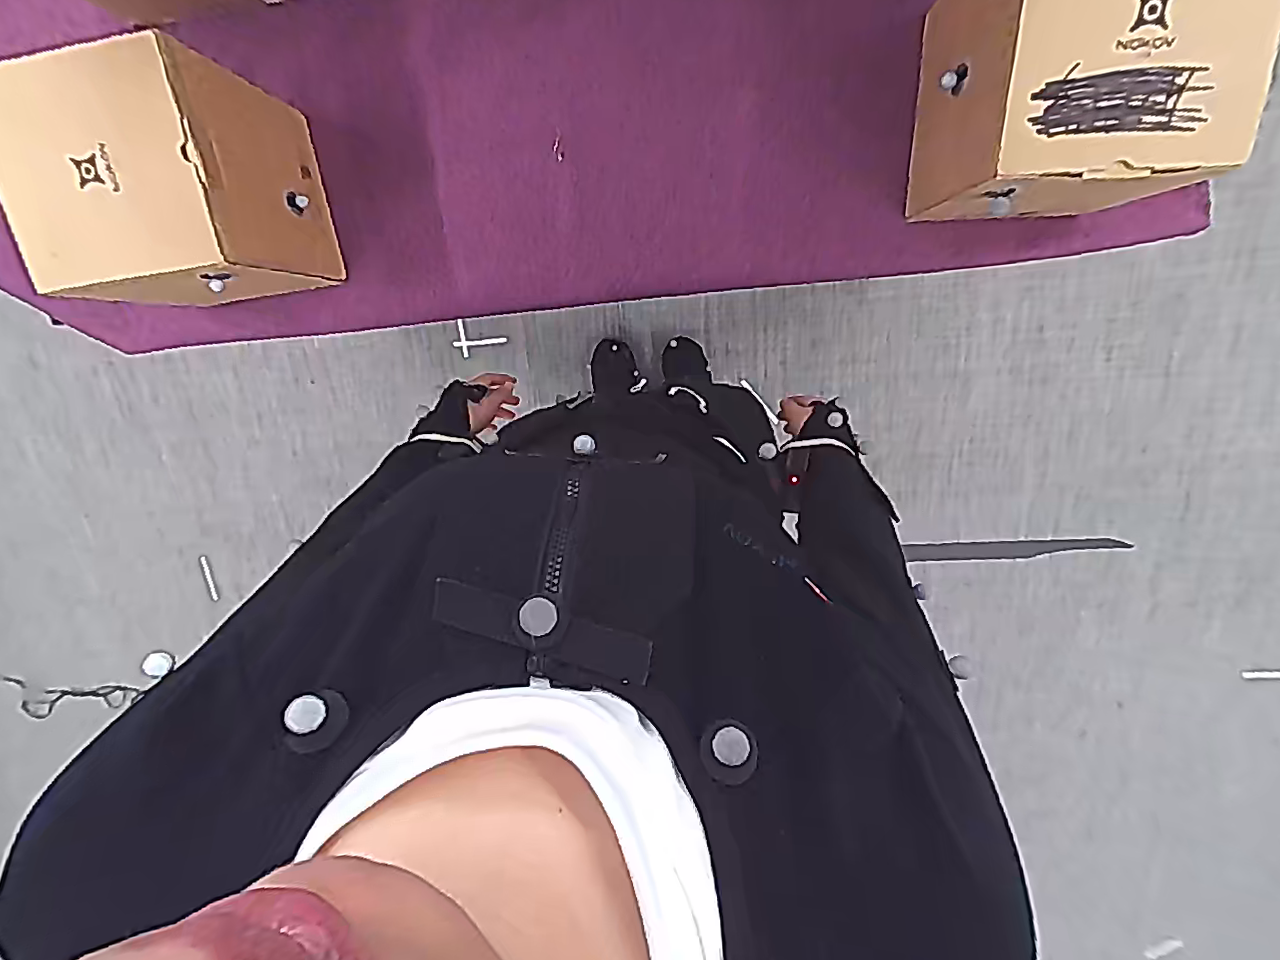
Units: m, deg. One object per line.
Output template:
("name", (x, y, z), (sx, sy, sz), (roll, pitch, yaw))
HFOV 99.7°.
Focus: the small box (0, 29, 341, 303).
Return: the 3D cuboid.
("small box", (-0.425, -0.266, 0.504), (0.179, 0.176, 0.168), (-8, 104, 5))
